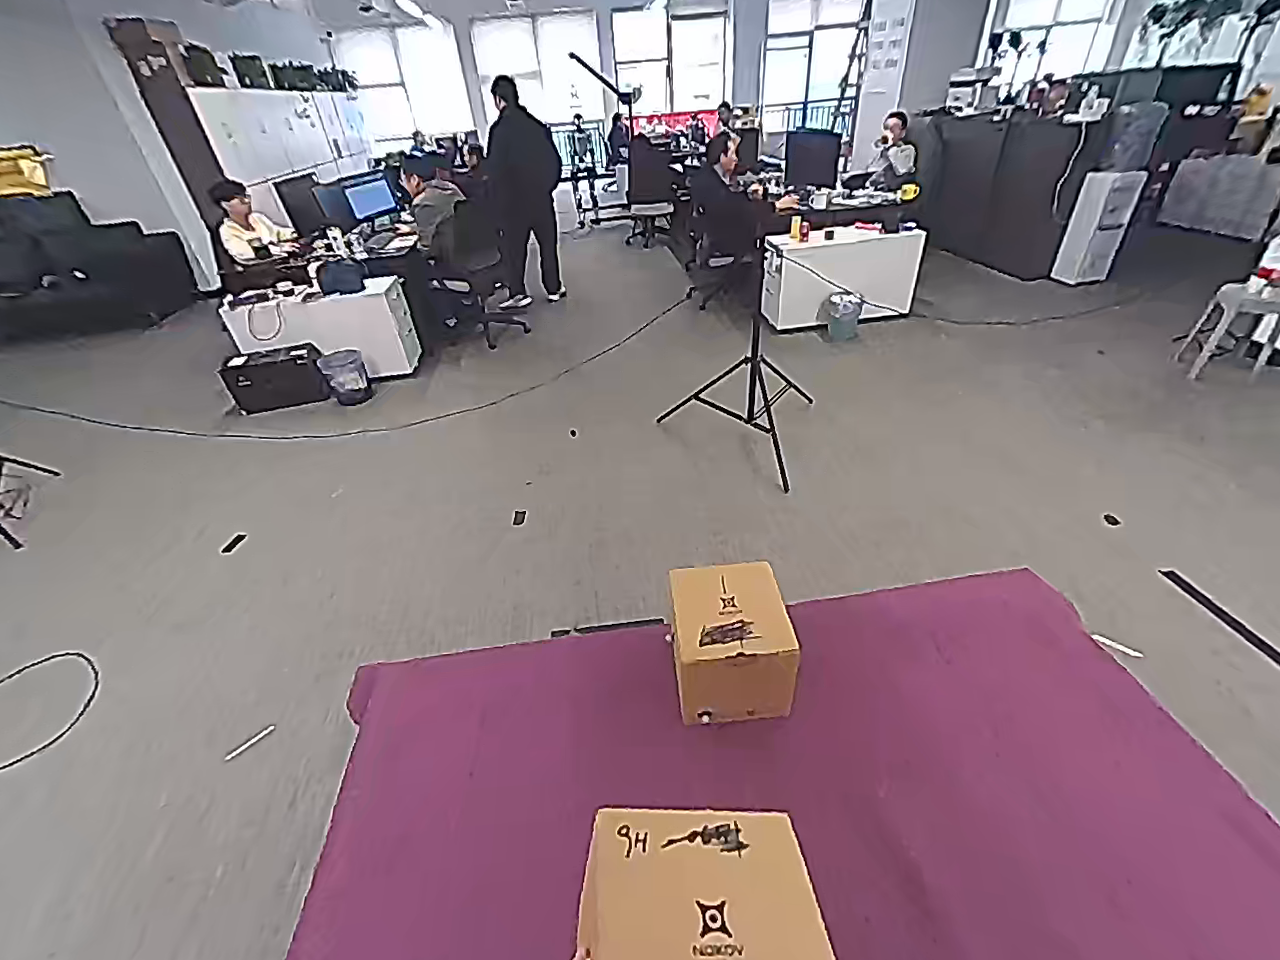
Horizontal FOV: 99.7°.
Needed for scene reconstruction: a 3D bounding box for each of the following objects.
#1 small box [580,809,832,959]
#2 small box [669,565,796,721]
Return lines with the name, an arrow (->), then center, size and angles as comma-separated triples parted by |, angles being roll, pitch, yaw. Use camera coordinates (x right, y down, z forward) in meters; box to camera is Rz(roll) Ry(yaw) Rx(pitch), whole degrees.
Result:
small box -> 0.041, 0.388, 0.411 | 0.168, 0.176, 0.179 | 6, 26, -7
small box -> 0.138, 0.261, 0.855 | 0.168, 0.176, 0.179 | -5, 36, 0
